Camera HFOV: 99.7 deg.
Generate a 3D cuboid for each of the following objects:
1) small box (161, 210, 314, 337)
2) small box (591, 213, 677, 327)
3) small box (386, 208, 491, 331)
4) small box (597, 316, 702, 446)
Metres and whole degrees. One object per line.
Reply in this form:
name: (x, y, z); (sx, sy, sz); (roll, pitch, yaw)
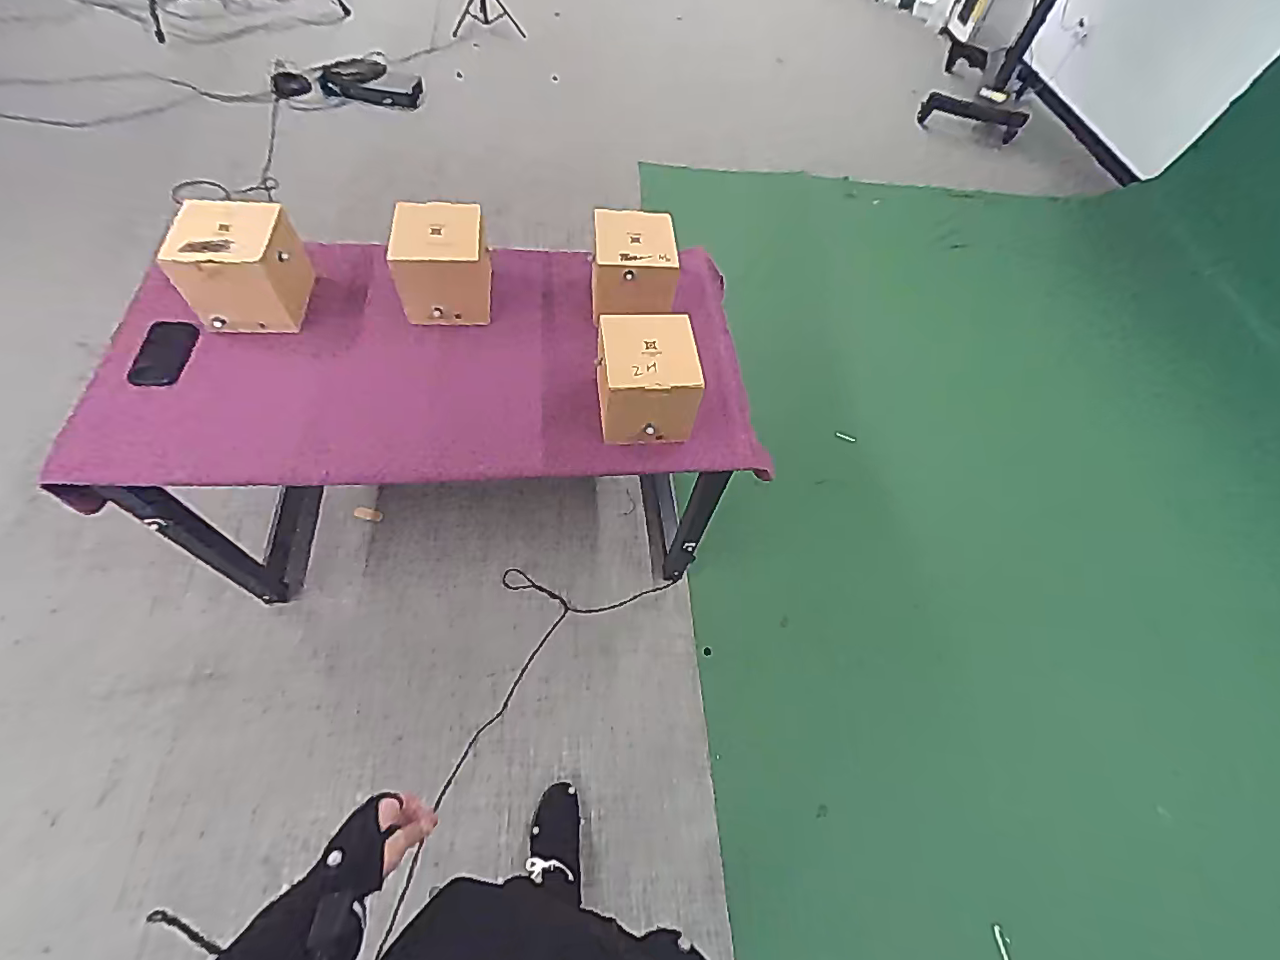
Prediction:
small box: (-0.764, -0.395, 1.051); (0.168, 0.176, 0.179); (-3, 59, -9)
small box: (-0.021, -0.448, 1.171); (0.168, 0.176, 0.179); (-2, 59, -7)
small box: (-0.406, -0.433, 1.118); (0.168, 0.176, 0.179); (-3, 60, -8)
small box: (0.009, -0.184, 1.012); (0.168, 0.176, 0.179); (-4, 60, -7)
